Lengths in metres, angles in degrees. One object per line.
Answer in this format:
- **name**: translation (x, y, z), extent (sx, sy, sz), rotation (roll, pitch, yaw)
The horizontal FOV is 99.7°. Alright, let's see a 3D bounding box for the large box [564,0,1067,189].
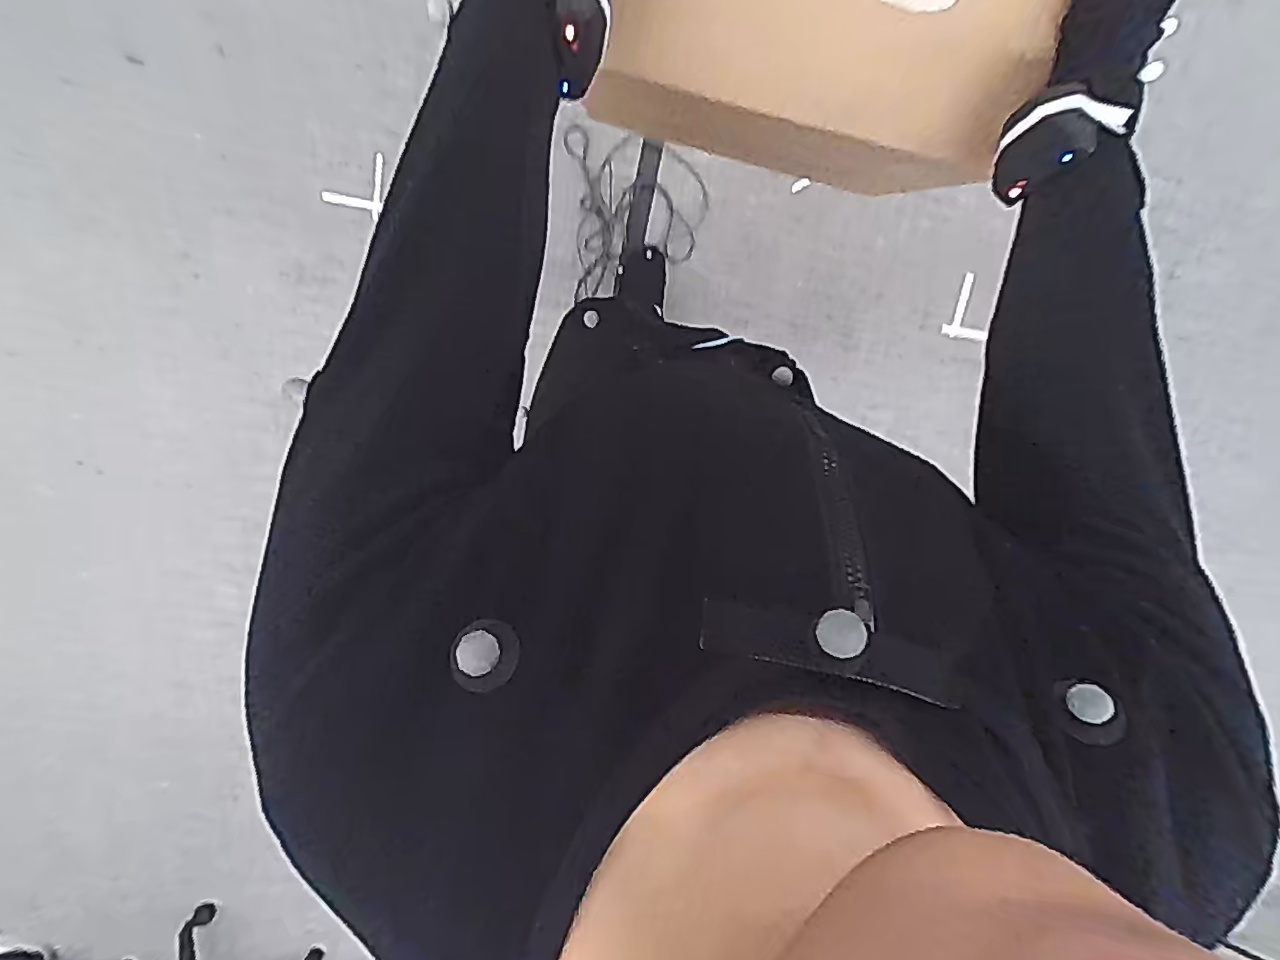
- **large box**: translation (0.155, -0.513, 0.542), extent (0.408, 0.320, 0.320), rotation (11, 116, -6)
